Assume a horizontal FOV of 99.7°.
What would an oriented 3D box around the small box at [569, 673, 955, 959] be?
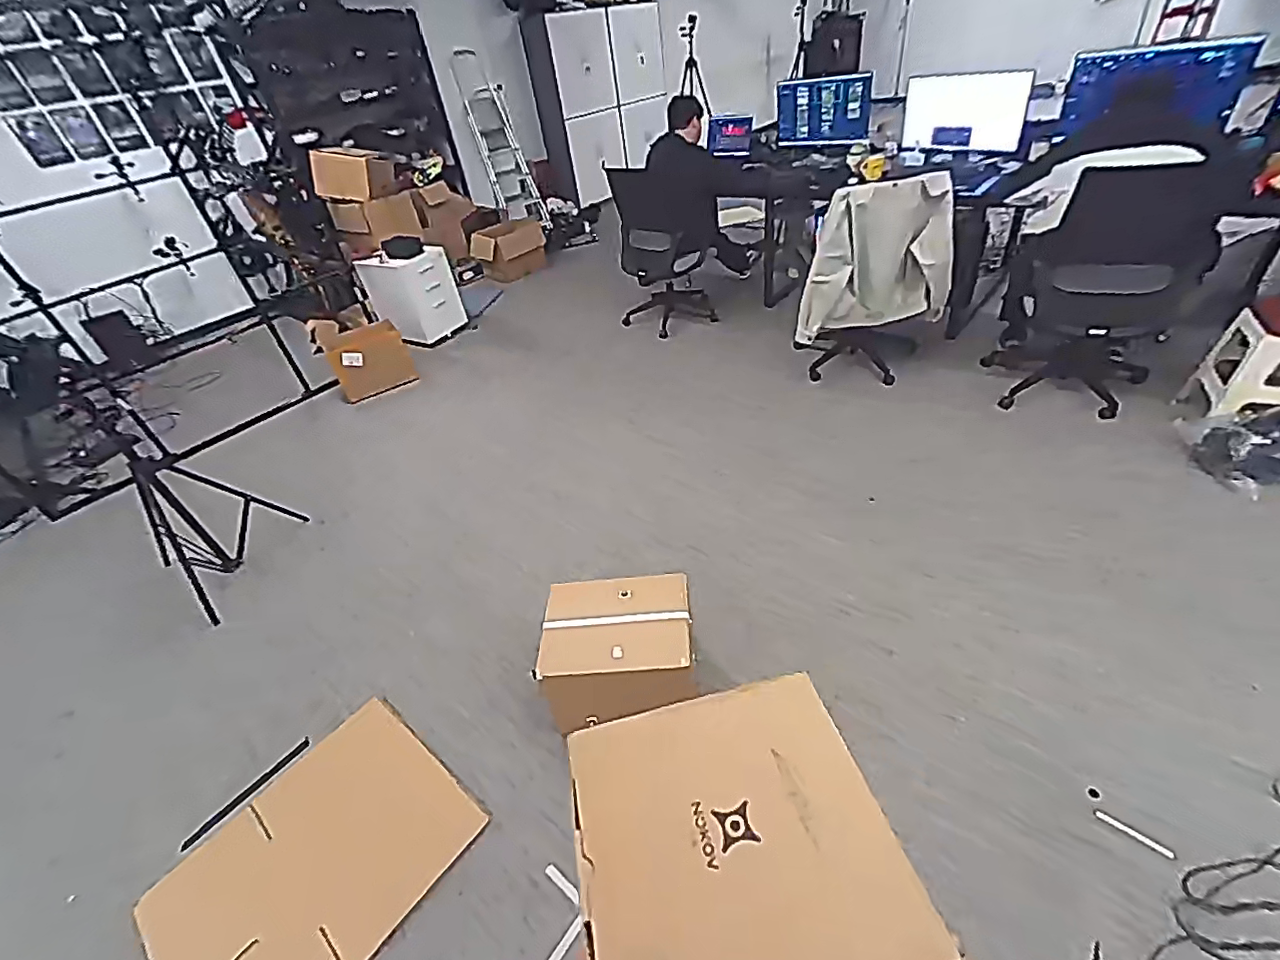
[{"bbox_3d":[0.062,0.265,0.358,0.179,0.176,0.168,-13,37,-7],"label":"small box"}]
